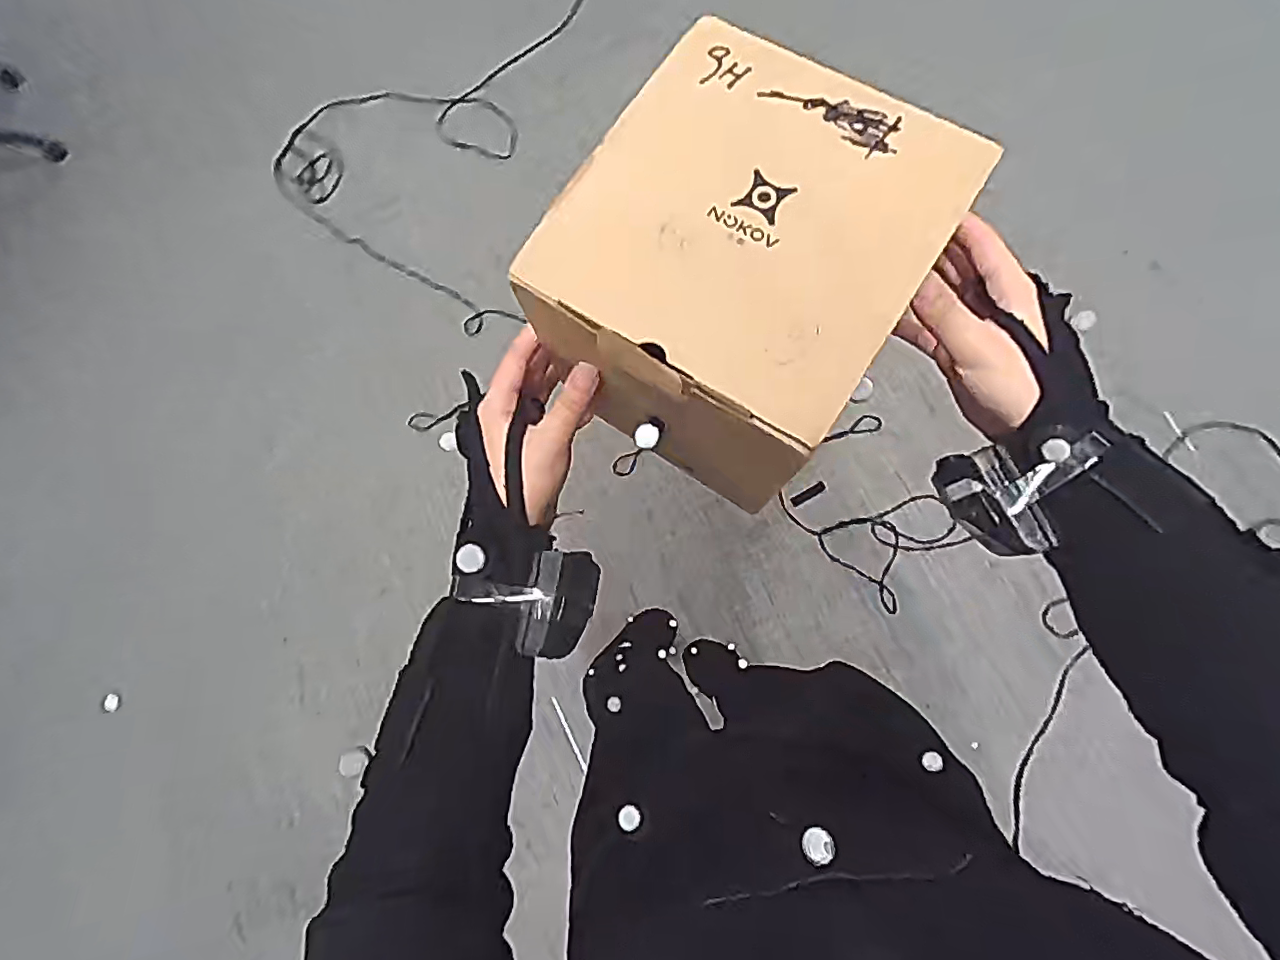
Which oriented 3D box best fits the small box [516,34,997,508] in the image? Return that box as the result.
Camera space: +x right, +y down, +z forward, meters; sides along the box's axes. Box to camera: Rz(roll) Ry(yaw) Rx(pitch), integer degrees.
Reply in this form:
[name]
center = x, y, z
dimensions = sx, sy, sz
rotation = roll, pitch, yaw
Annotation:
[small box]
center = 0.060, -0.102, 0.333
dimensions = 0.168, 0.176, 0.179
rotation = 34, 83, 11
